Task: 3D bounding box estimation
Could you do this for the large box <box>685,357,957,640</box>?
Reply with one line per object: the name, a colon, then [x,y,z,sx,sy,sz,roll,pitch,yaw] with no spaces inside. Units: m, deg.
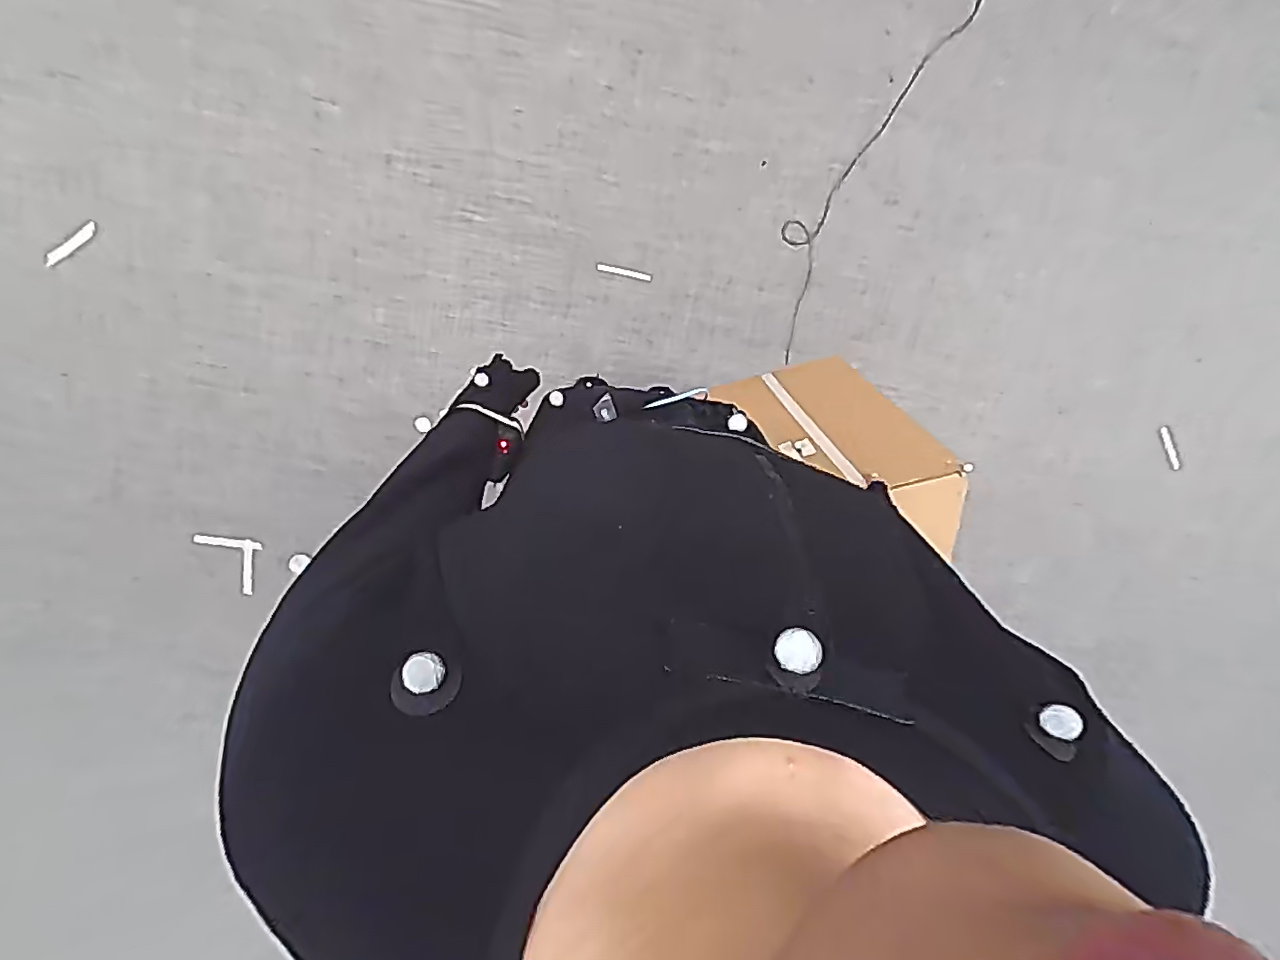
large box: [0.301,0.019,1.023,0.320,0.408,0.320,-16,128,-2]
